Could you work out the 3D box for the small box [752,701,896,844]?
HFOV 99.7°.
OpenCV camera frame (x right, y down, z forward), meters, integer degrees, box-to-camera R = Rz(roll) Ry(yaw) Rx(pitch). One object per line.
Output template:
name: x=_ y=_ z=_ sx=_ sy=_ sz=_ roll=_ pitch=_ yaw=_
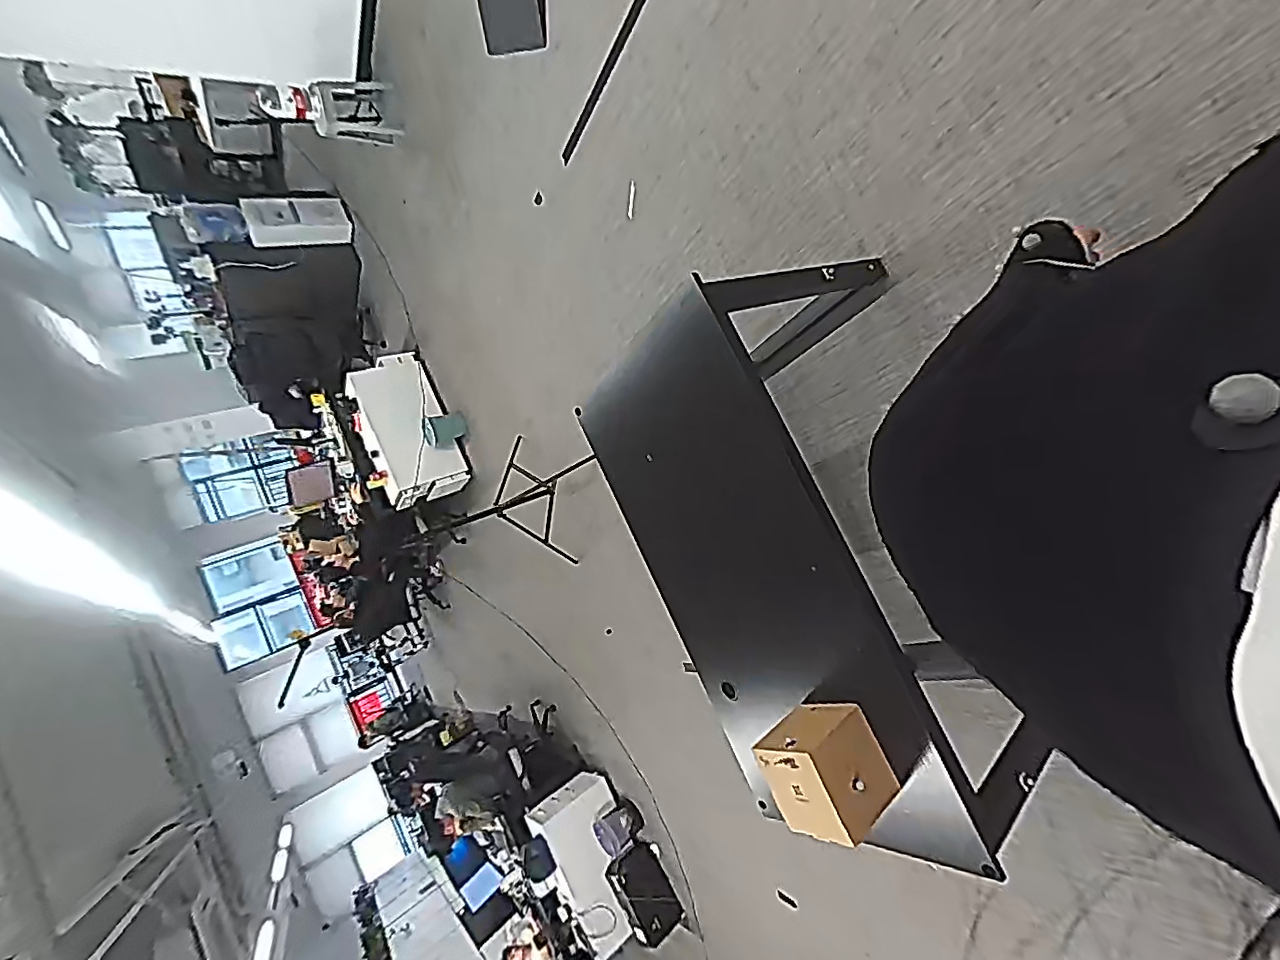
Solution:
small box: x=0.361 y=0.558 z=1.058 sx=0.168 sy=0.176 sz=0.179 roll=-37 pitch=78 yaw=54
